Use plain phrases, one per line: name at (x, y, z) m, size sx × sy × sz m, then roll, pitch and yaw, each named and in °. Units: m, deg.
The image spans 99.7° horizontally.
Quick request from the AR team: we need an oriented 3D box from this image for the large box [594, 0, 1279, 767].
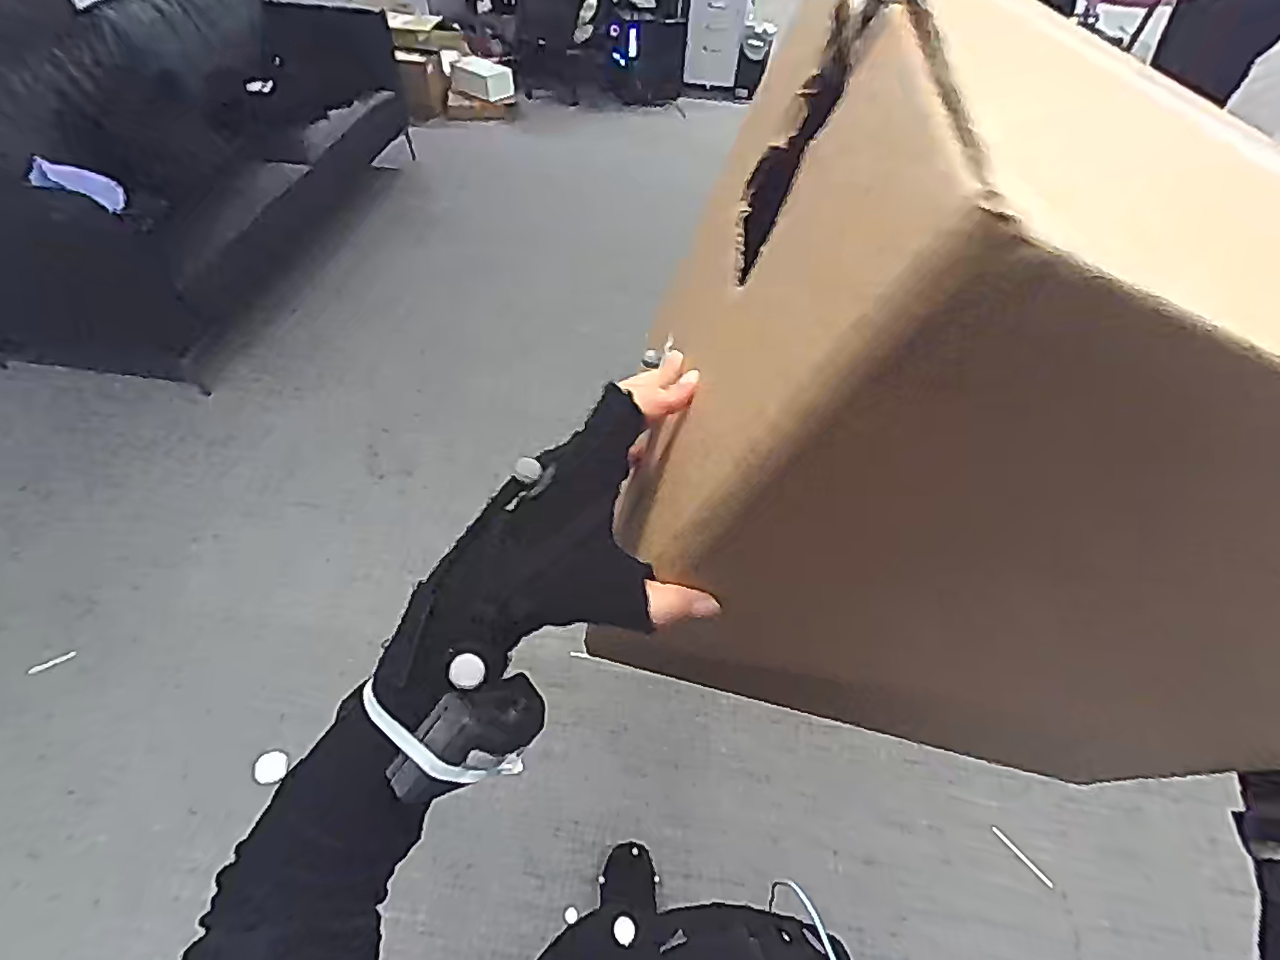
large box at (0.218, -0.032, 0.357) m, size 0.408 × 0.320 × 0.320 m, roll 19°, pitch 54°, yaw -10°
